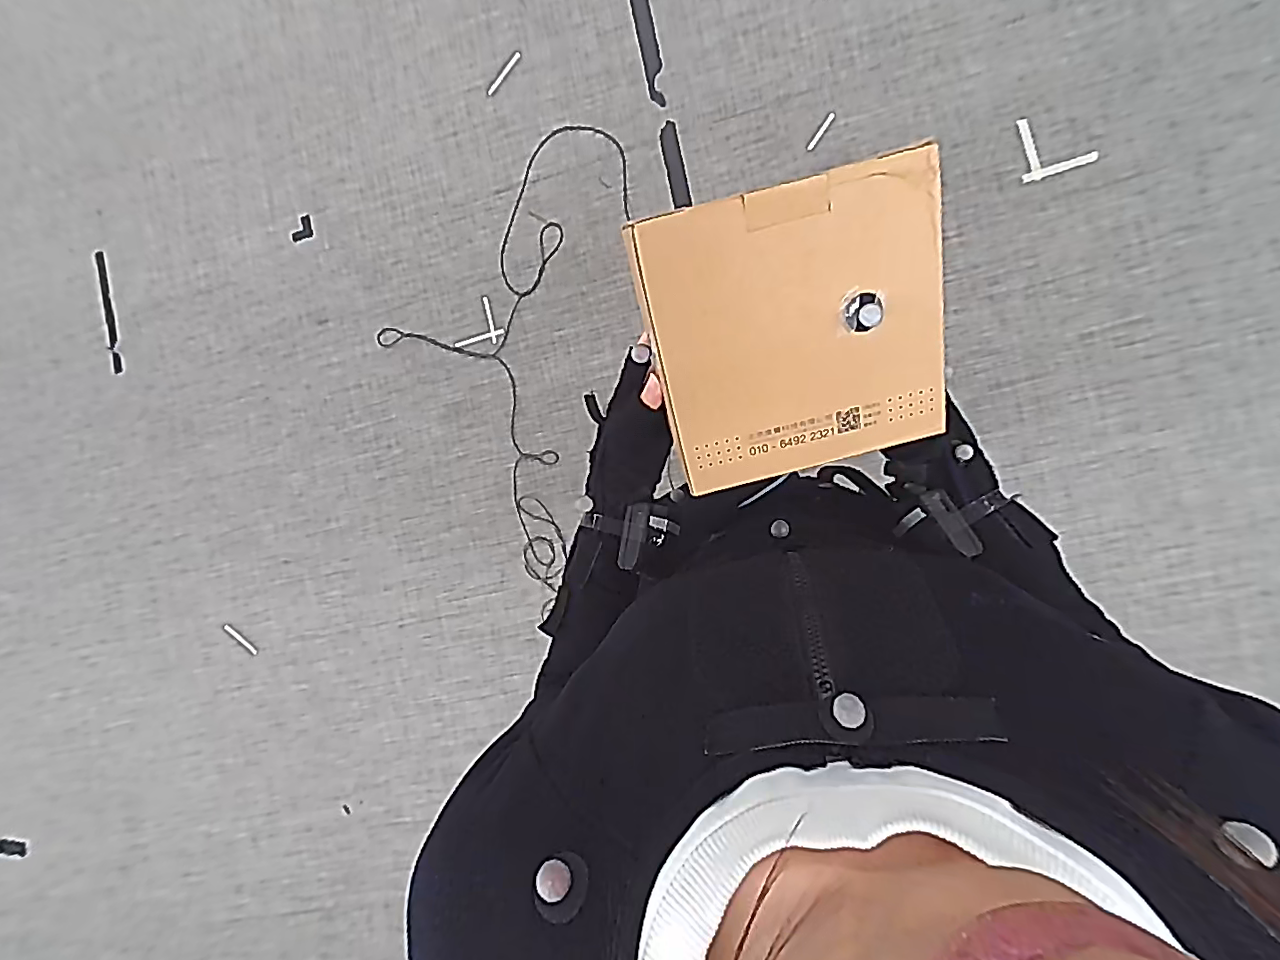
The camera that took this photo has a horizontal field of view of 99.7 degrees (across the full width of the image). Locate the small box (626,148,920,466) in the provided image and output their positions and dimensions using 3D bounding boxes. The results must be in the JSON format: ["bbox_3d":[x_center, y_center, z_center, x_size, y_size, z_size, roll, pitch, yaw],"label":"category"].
[{"bbox_3d":[0.090,-0.122,0.407,0.168,0.179,0.176,-14,114,3],"label":"small box"}]
